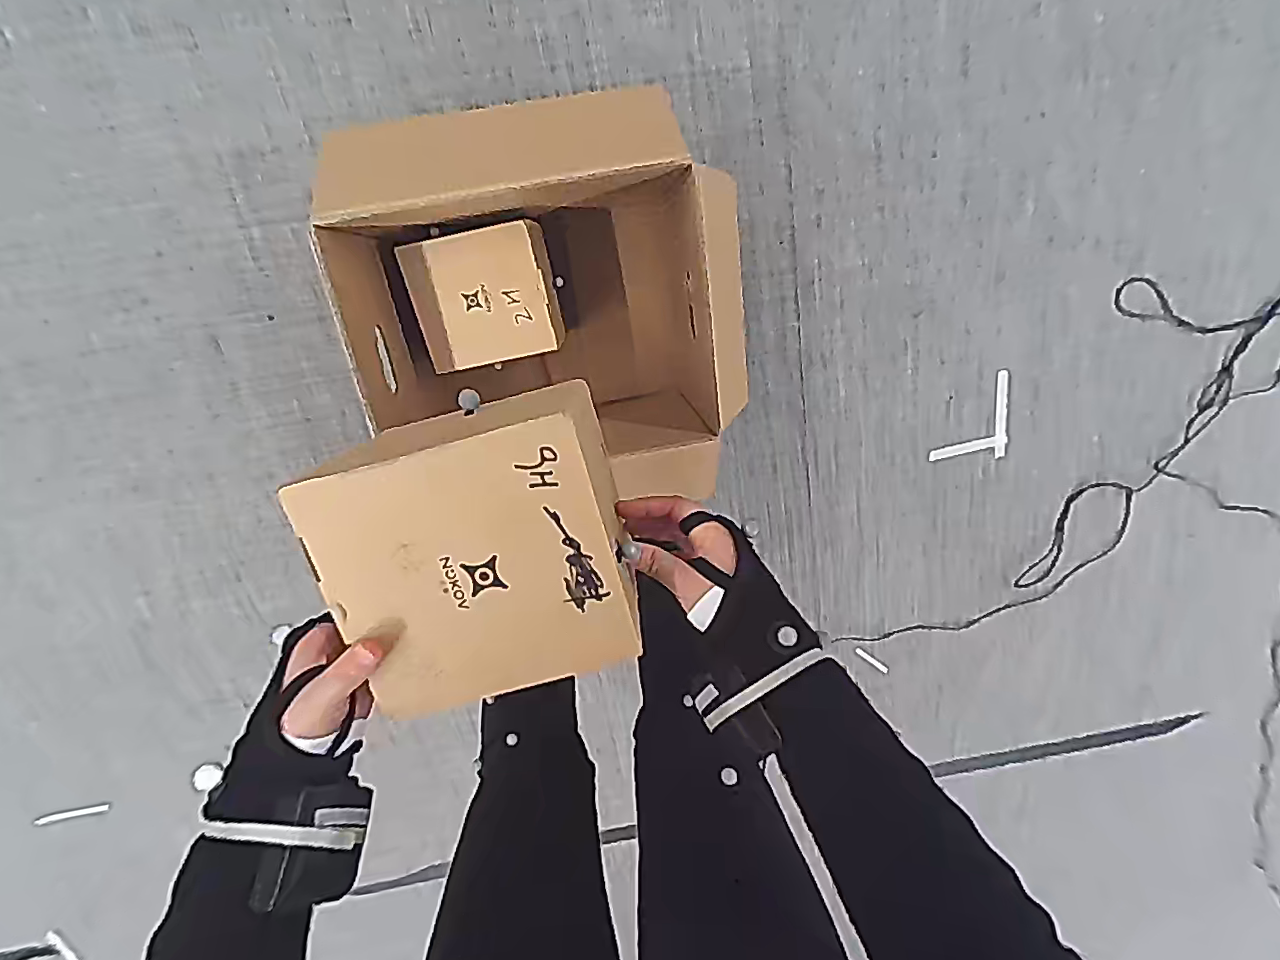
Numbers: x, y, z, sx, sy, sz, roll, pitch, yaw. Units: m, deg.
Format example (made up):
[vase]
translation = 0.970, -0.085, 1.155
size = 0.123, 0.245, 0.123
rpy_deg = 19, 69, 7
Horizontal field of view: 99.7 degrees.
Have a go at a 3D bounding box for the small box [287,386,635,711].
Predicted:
[small box]
translation = -0.107, 0.035, 0.410
size = 0.179, 0.176, 0.168
rpy_deg = -15, 107, 2
